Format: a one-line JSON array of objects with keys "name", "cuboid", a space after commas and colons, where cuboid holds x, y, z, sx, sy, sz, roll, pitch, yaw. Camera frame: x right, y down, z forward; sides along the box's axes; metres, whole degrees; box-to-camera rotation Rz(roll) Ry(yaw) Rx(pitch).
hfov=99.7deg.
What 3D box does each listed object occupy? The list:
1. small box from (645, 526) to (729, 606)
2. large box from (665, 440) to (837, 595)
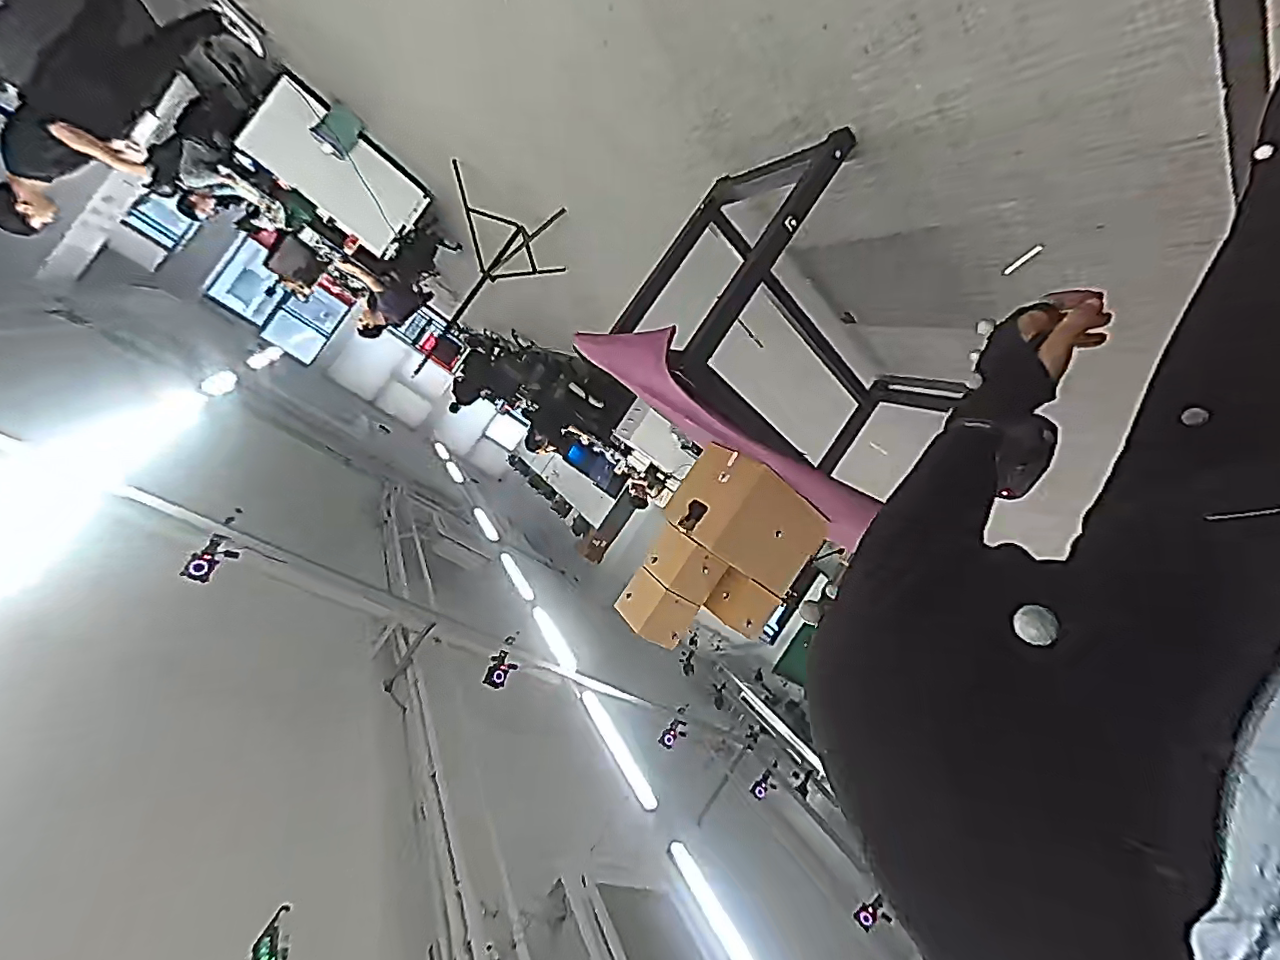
[{"name": "small box", "cuboid": [0.153, 0.269, 1.736, 0.168, 0.176, 0.179, 33, 180, -33]}, {"name": "large box", "cuboid": [0.368, 0.119, 1.801, 0.408, 0.320, 0.320, 34, -179, -32]}]
